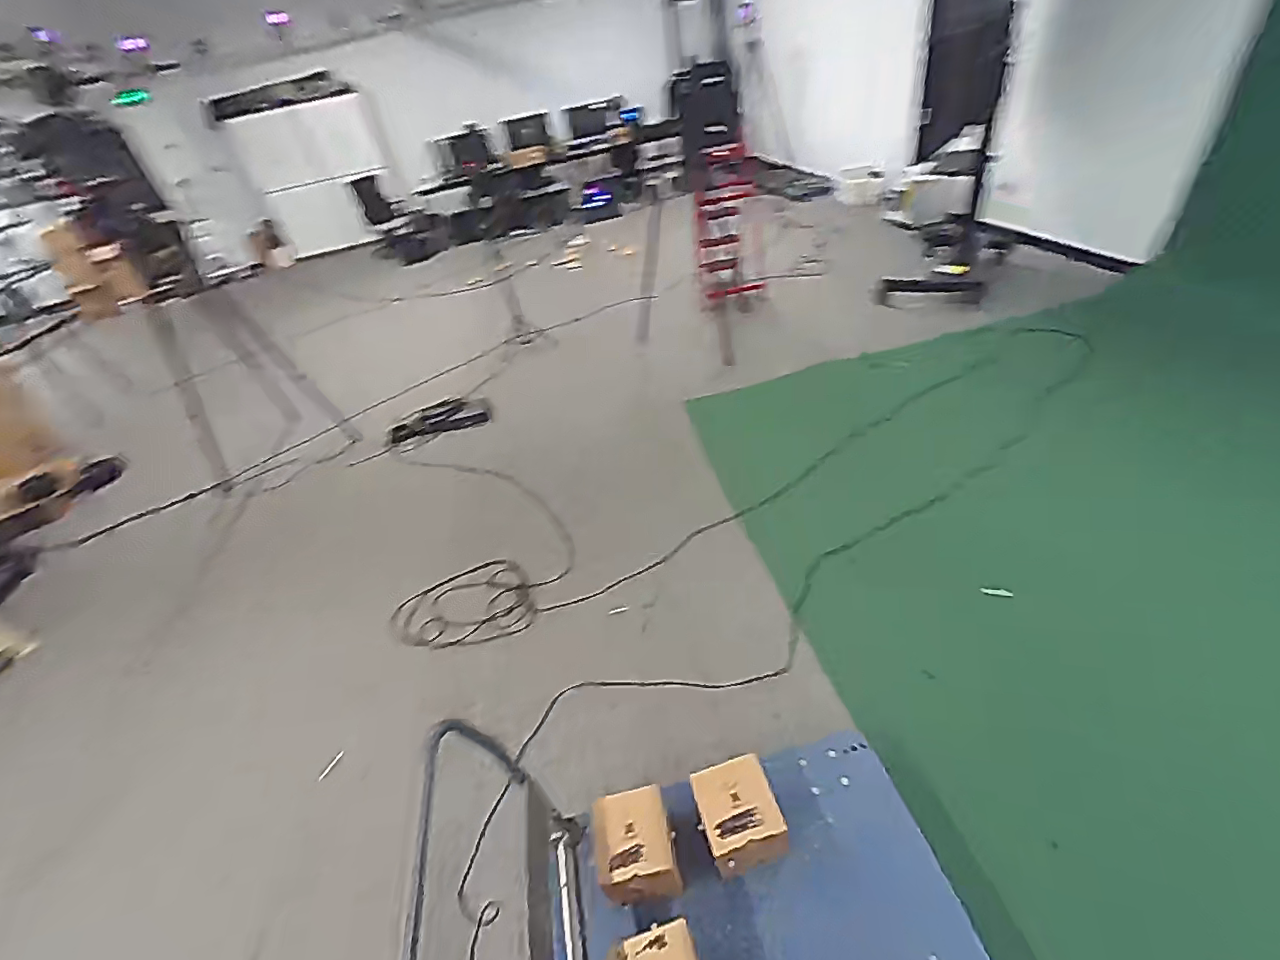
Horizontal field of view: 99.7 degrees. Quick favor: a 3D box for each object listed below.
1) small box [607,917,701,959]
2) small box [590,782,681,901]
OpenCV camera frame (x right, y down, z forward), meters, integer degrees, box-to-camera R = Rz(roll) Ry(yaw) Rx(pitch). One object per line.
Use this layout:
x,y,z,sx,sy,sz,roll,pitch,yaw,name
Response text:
0.048,0.993,1.043,0.168,0.176,0.179,-17,39,-6,small box
-0.010,0.839,1.248,0.168,0.176,0.179,-14,38,-2,small box
